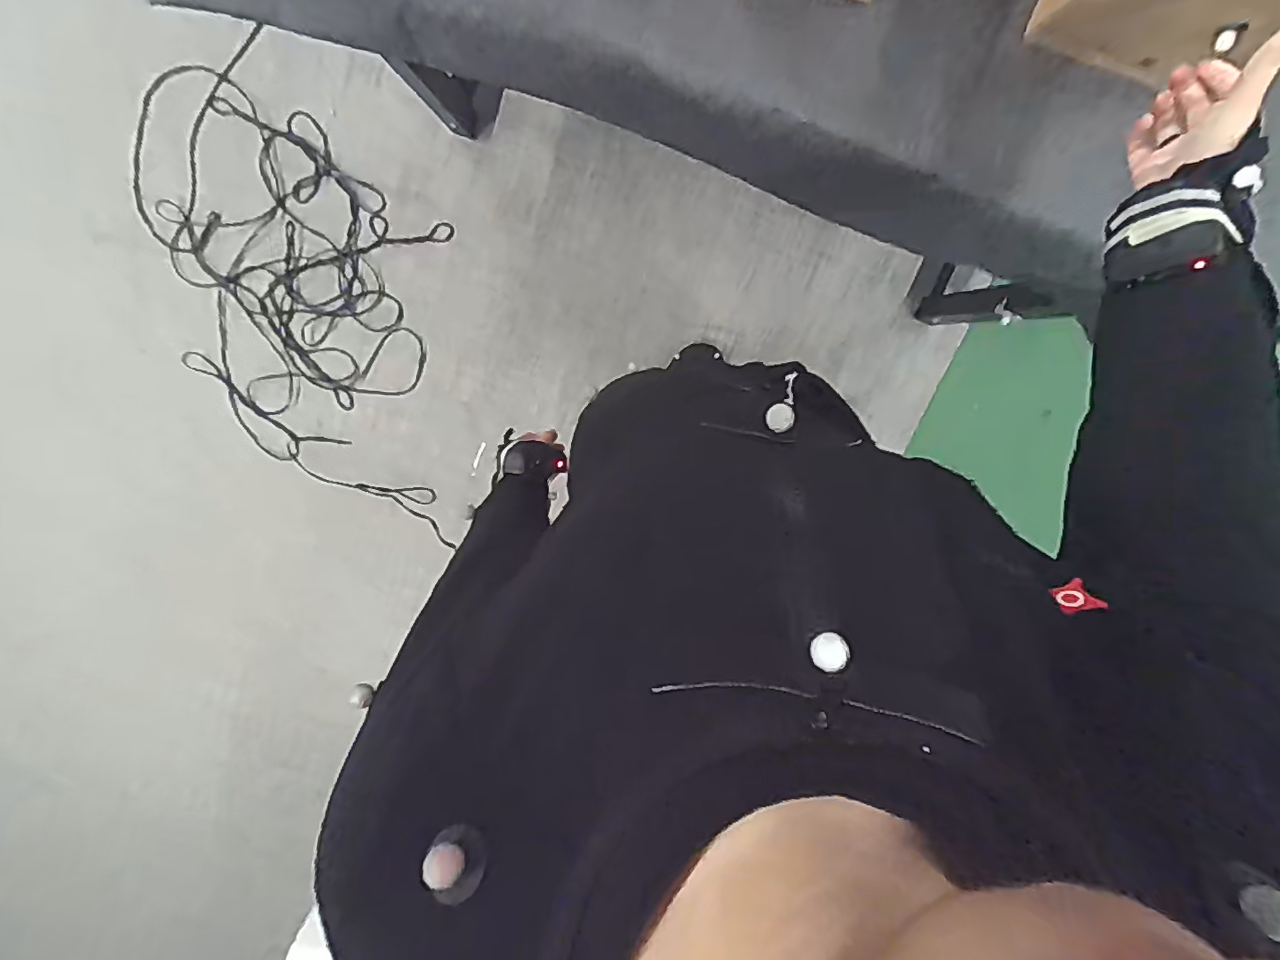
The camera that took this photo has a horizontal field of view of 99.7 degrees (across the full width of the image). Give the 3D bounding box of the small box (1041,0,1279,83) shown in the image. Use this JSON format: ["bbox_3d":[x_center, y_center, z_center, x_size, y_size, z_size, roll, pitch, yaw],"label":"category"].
[{"bbox_3d":[0.461,-0.452,0.413,0.168,0.176,0.179,15,103,-4],"label":"small box"}]
